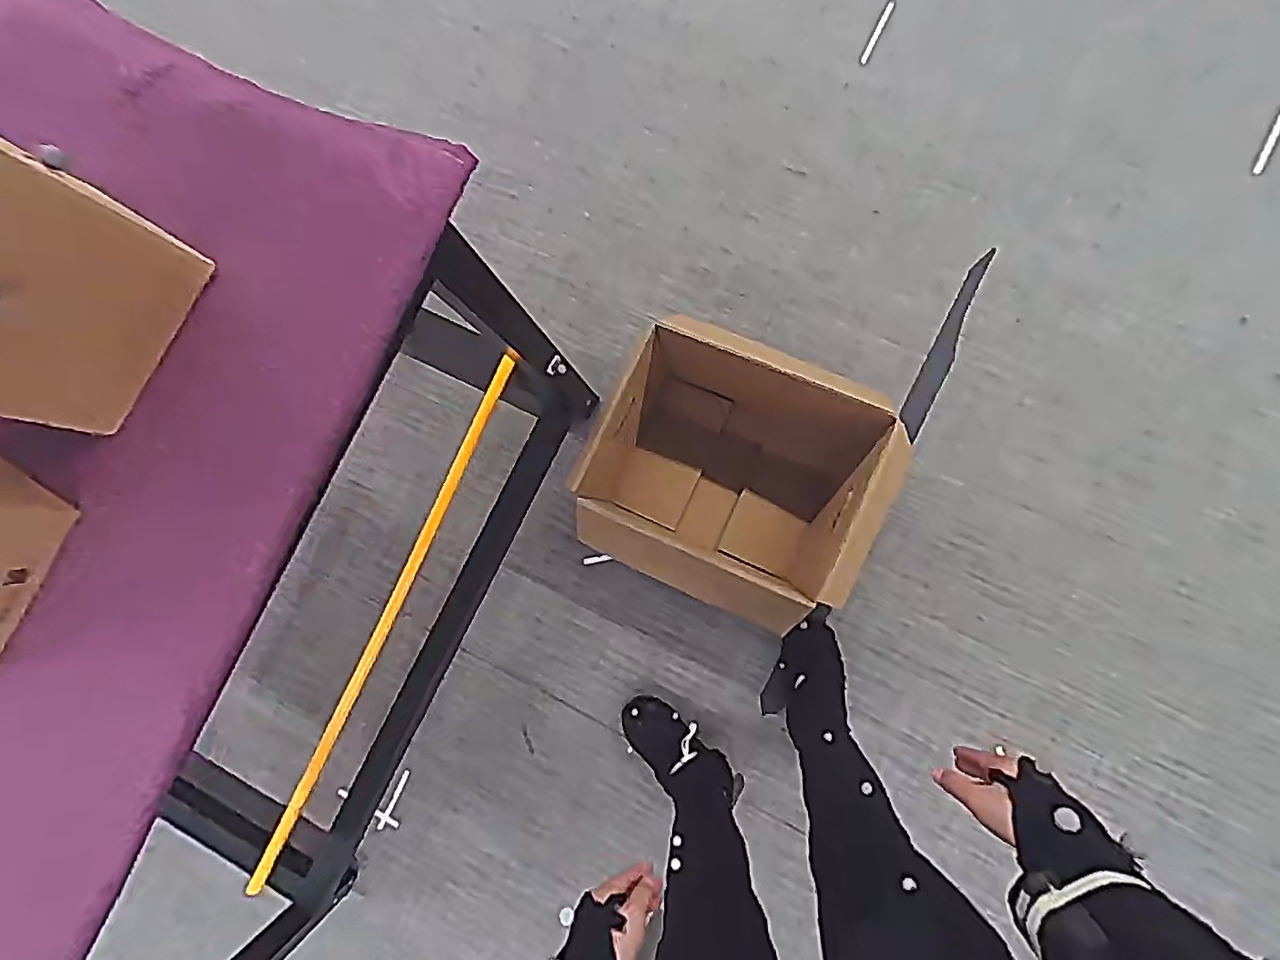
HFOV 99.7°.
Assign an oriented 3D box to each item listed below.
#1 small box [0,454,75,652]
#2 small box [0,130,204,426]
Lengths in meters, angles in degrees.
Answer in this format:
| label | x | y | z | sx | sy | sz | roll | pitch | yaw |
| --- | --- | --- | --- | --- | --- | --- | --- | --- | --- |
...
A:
| label | x | y | z | sx | sy | sz | roll | pitch | yaw |
| --- | --- | --- | --- | --- | --- | --- | --- | --- | --- |
| small box | -0.599 | 0.048 | 0.394 | 0.179 | 0.176 | 0.168 | 29 | 89 | 9 |
| small box | -0.484 | -0.163 | 0.401 | 0.168 | 0.176 | 0.179 | 31 | 90 | 10 |
